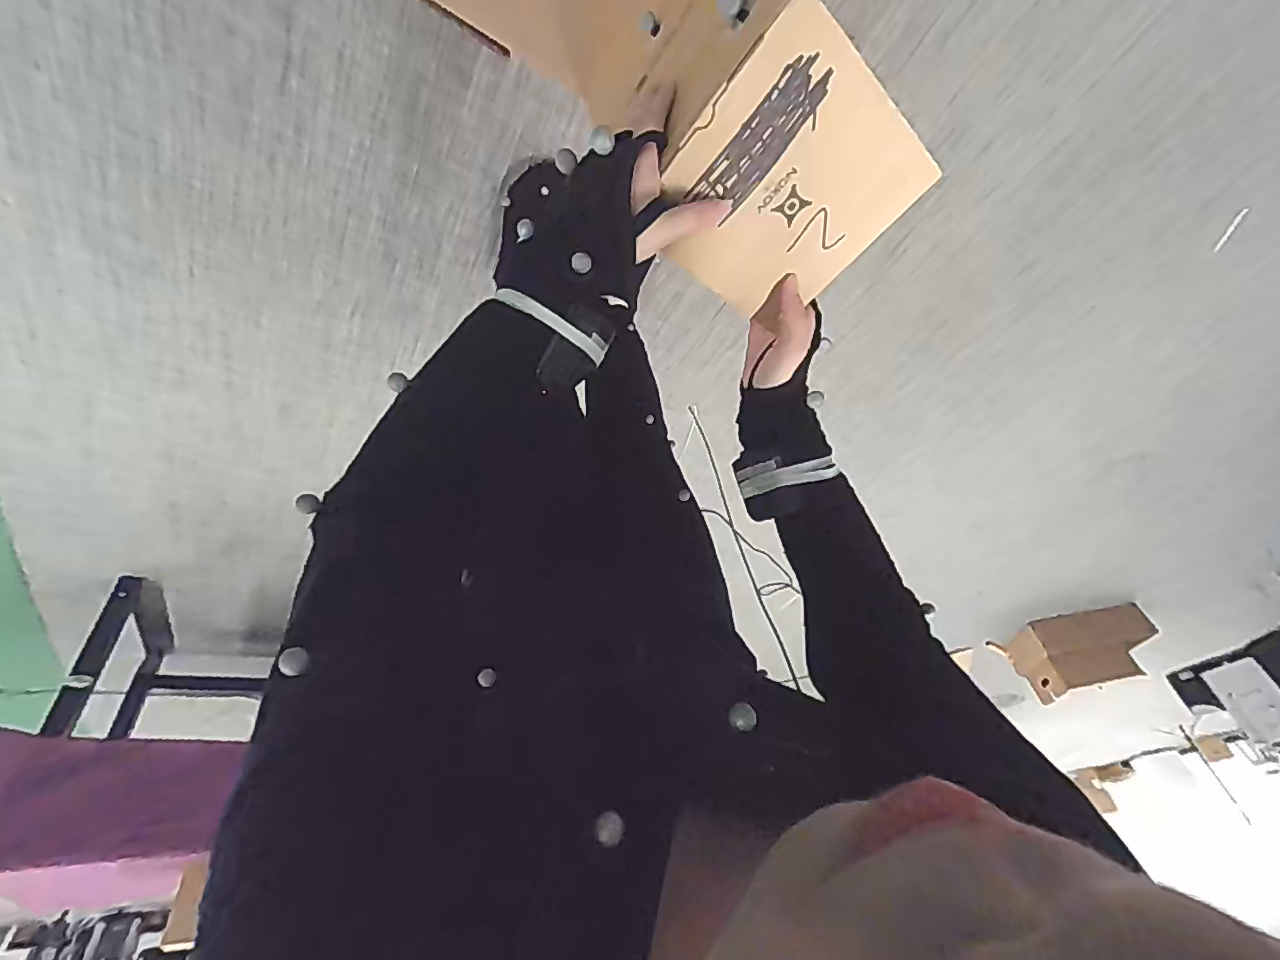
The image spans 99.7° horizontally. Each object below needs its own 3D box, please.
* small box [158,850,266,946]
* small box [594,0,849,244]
[{"bbox_3d":[-1.070,1.051,1.364,0.179,0.176,0.168,15,134,-27],"label":"small box"},{"bbox_3d":[0.066,-0.389,0.549,0.168,0.176,0.179,18,131,-31],"label":"small box"}]
